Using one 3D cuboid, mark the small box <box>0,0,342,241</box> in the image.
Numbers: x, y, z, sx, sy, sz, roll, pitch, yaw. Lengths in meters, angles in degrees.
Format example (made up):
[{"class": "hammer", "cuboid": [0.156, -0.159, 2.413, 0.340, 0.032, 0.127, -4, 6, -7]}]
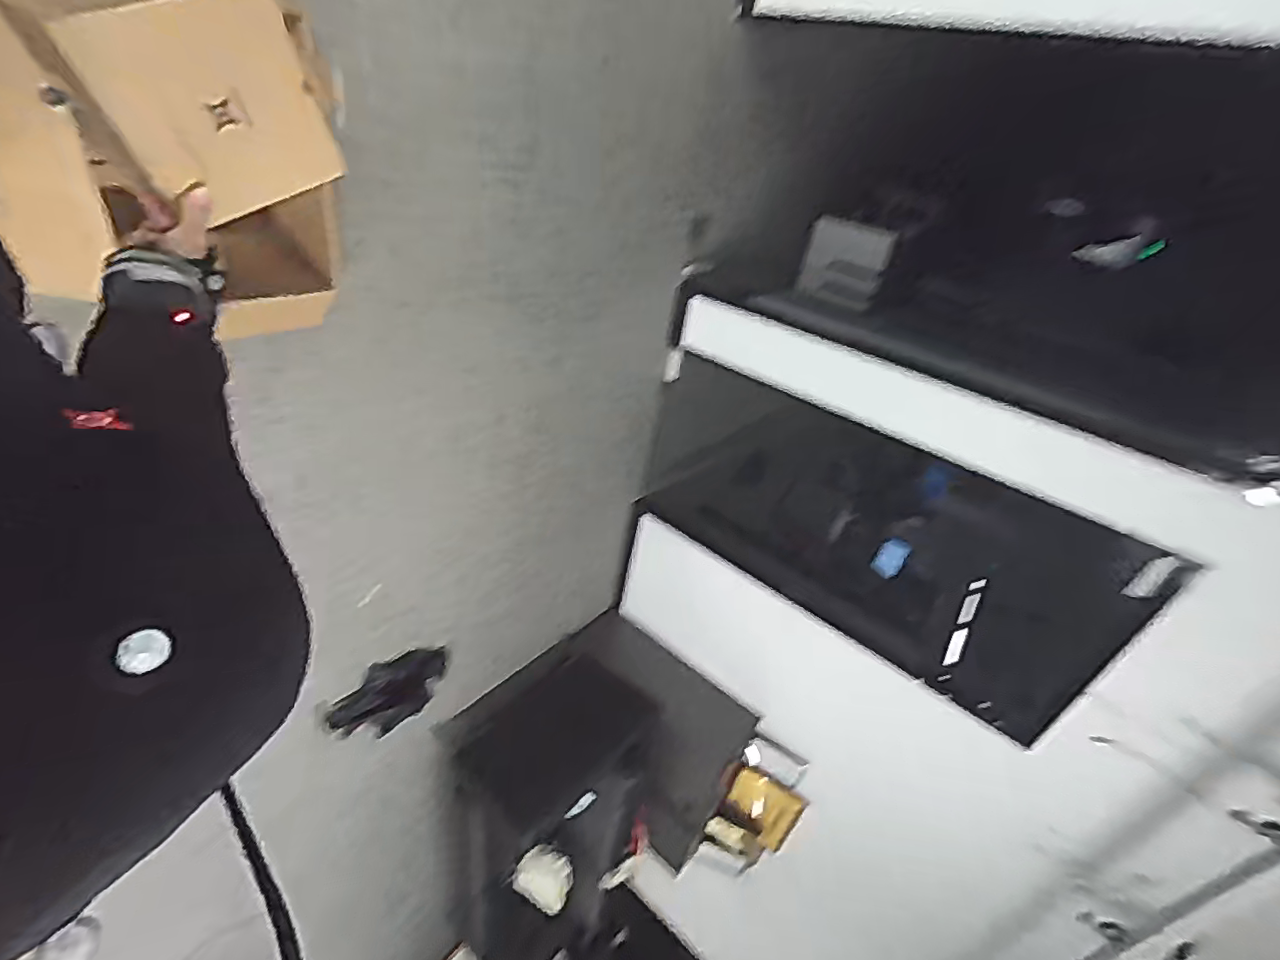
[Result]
[{"class": "small box", "cuboid": [-0.445, -0.369, 0.527, 0.179, 0.176, 0.168, -43, 151, -27]}]
